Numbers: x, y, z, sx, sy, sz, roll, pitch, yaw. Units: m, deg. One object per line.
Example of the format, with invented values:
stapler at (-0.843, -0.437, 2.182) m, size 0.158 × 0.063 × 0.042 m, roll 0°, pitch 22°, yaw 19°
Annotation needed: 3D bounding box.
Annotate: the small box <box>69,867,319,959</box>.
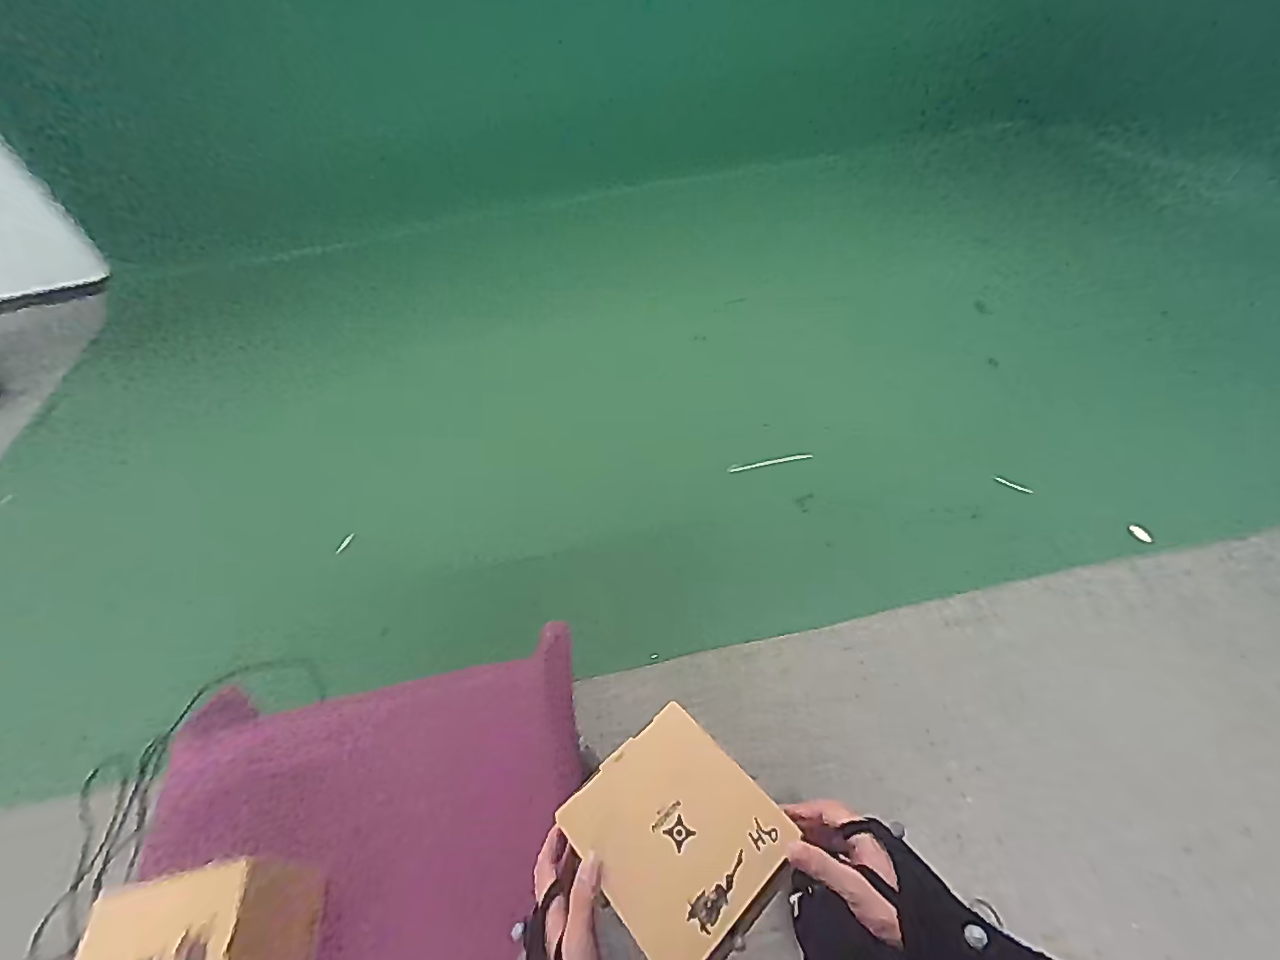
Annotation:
small box at (-0.510, 0.565, 0.624) m, size 0.179 × 0.176 × 0.168 m, roll -13°, pitch 51°, yaw -2°
